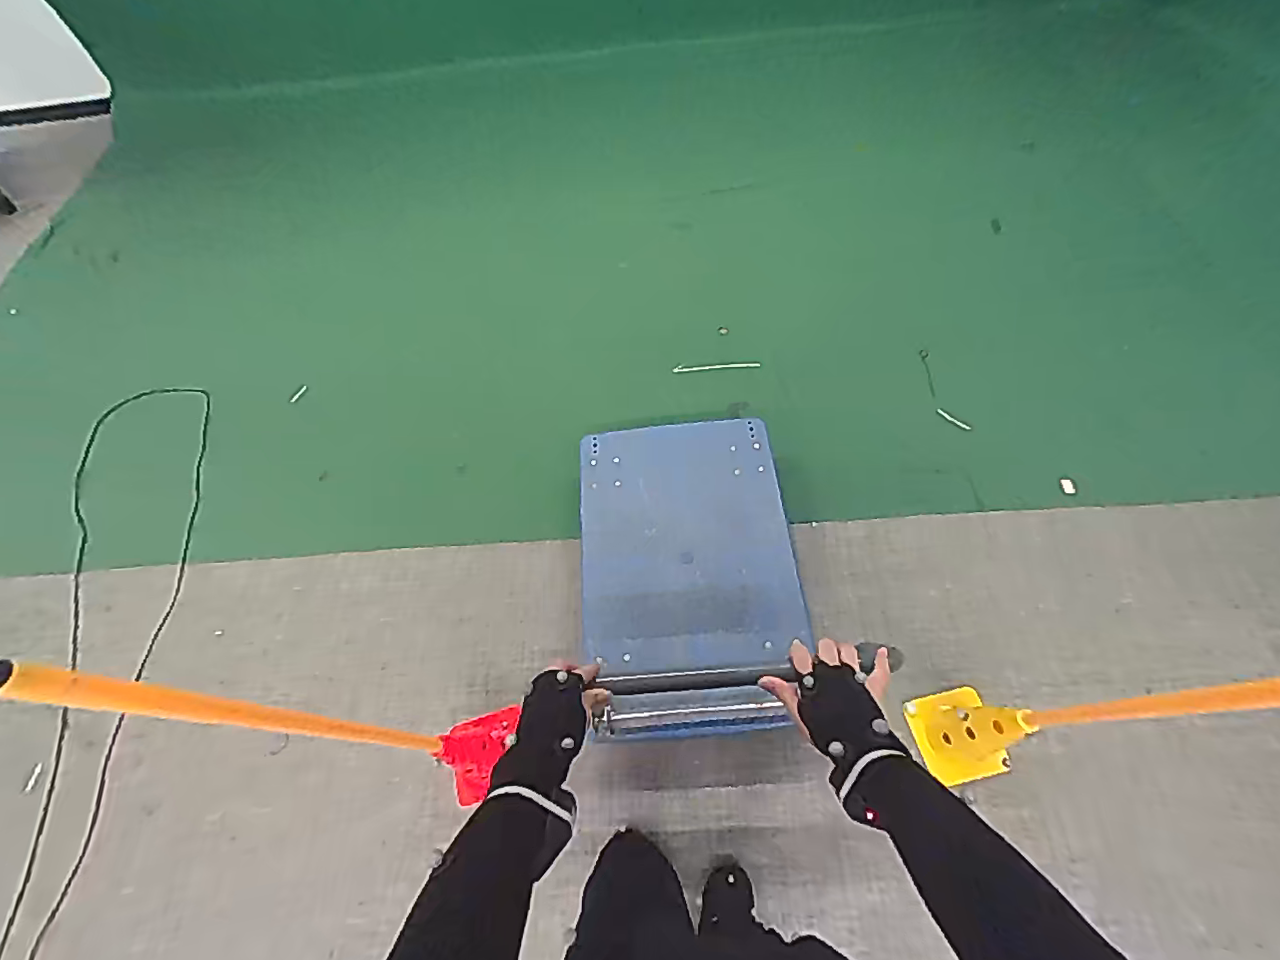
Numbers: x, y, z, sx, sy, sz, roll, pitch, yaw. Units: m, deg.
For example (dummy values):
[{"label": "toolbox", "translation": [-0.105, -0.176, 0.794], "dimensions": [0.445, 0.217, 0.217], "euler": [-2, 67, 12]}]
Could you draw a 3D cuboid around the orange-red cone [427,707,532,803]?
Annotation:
[{"label": "orange-red cone", "translation": [-0.408, 0.638, 1.272], "dimensions": [0.199, 0.360, 0.198], "euler": [-17, 60, -2]}]
